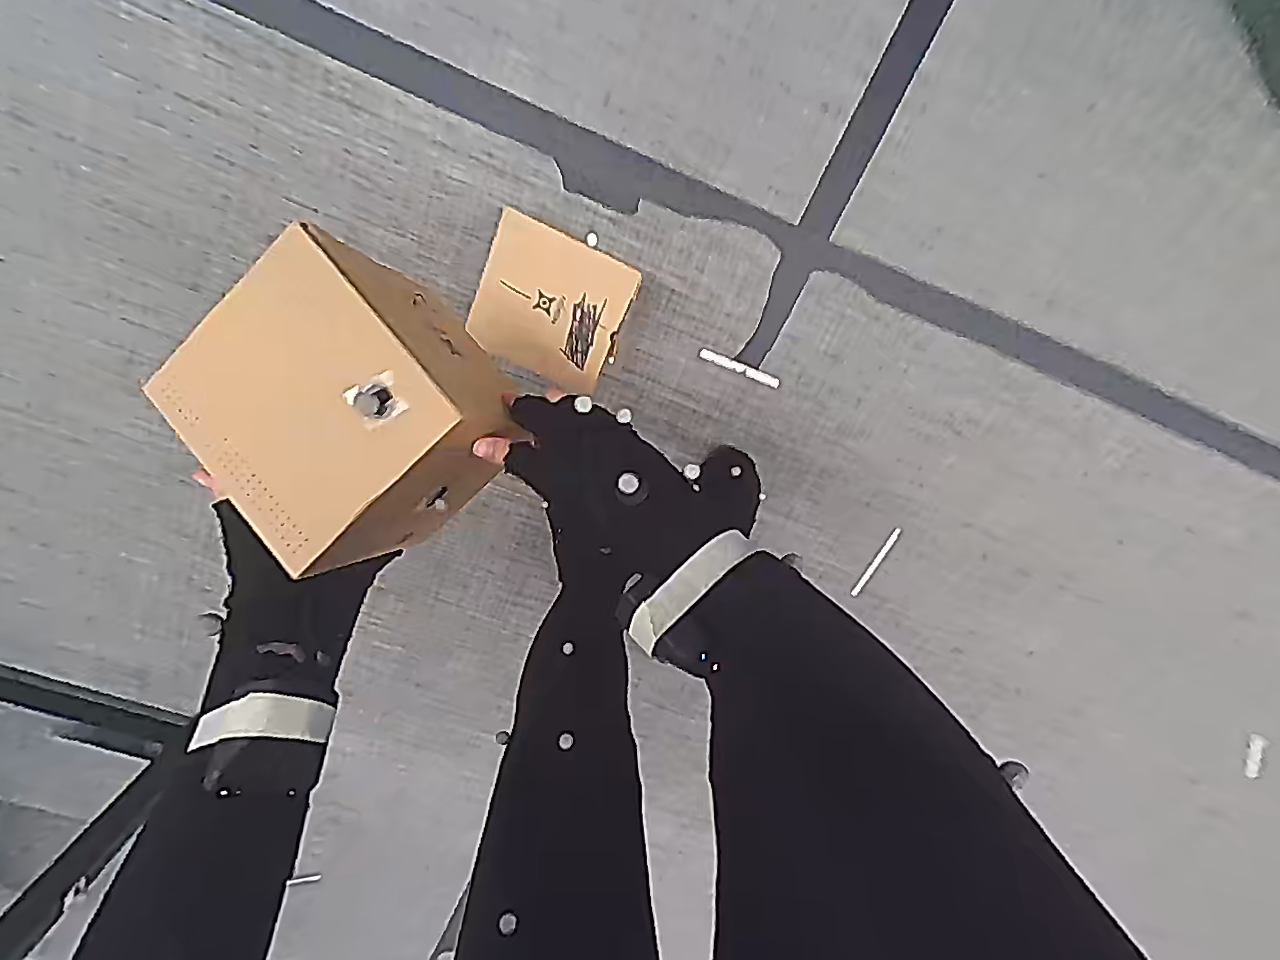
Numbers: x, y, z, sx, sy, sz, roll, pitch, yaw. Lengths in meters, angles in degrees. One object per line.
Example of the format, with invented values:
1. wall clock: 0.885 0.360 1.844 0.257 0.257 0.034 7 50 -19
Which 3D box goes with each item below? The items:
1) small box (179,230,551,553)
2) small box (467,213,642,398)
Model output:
1. small box: -0.211 -0.054 0.449 0.176 0.168 0.179 -42 85 6
2. small box: -0.107 -0.237 0.731 0.179 0.176 0.168 24 110 -8
